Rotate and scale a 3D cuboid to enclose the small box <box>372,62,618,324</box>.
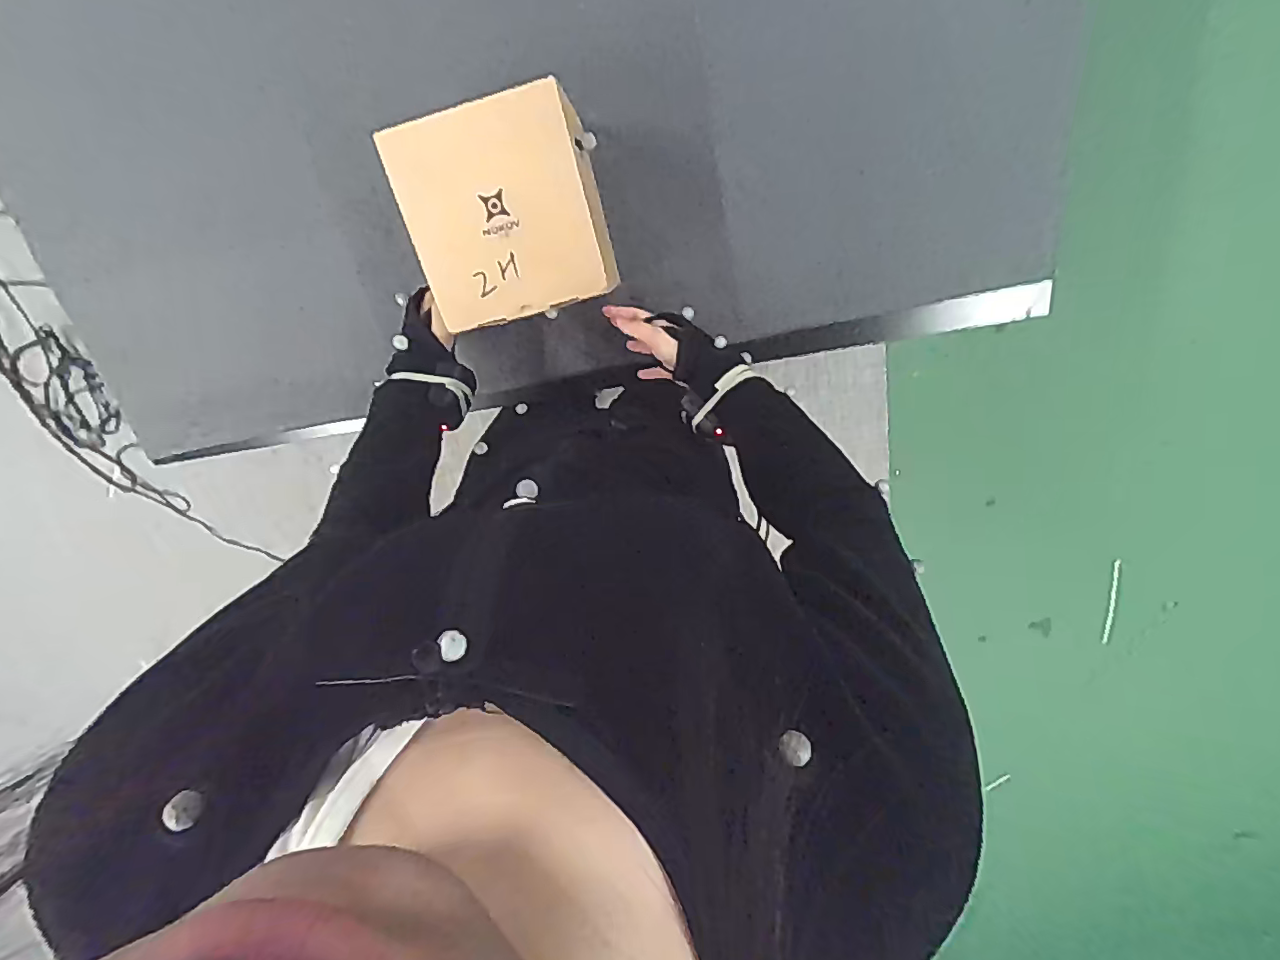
[{"bbox_3d":[-0.124,-0.267,0.543,0.168,0.176,0.179,-12,110,7],"label":"small box"}]
